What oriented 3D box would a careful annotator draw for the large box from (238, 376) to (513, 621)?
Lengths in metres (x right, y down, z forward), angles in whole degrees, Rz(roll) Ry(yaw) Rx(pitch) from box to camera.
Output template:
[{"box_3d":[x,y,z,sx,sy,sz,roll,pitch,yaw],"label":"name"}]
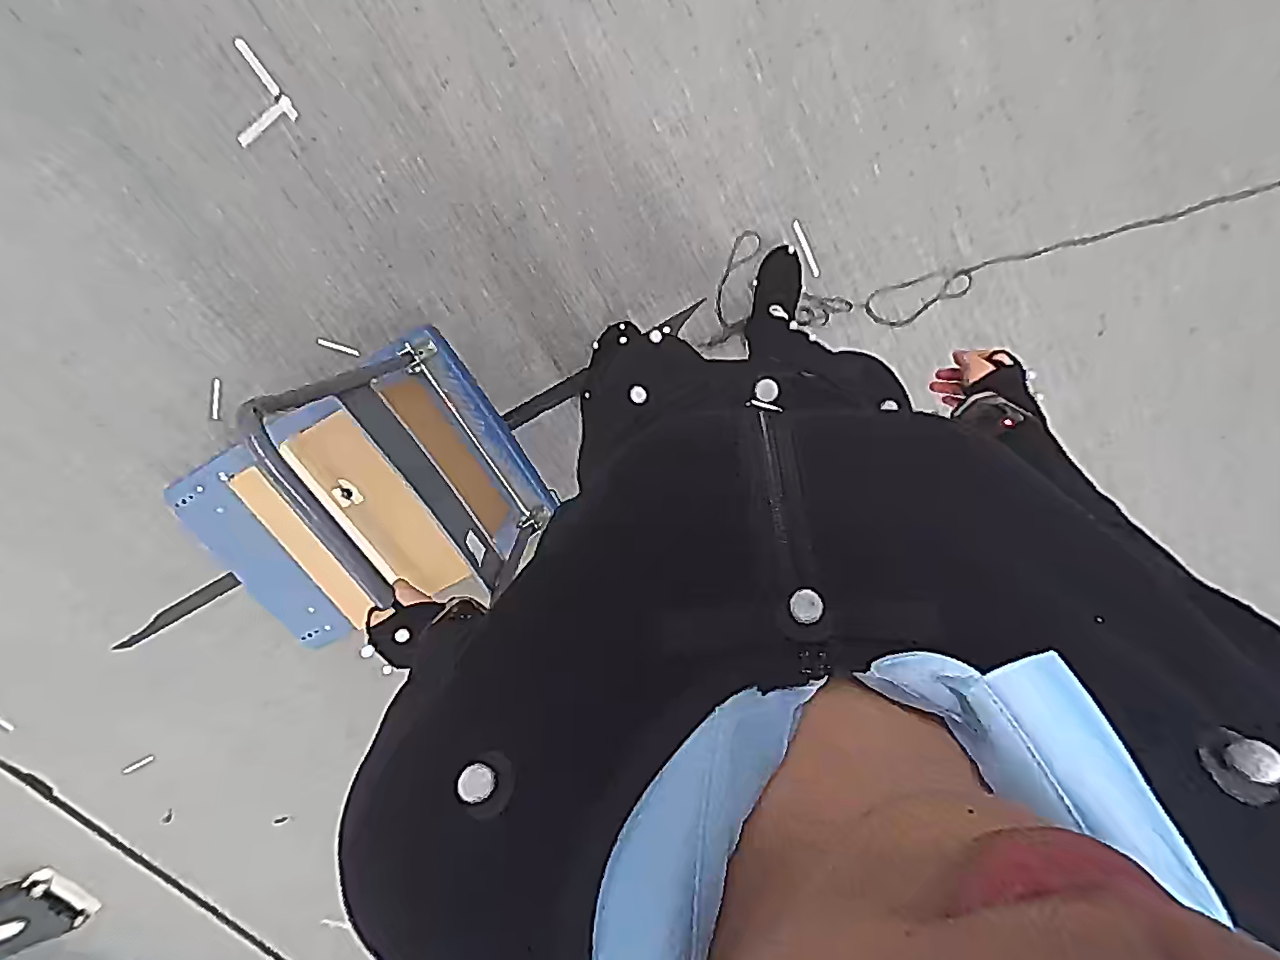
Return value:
[{"box_3d":[-0.556,0.031,1.228,0.320,0.320,0.408,-27,108,11],"label":"large box"}]
